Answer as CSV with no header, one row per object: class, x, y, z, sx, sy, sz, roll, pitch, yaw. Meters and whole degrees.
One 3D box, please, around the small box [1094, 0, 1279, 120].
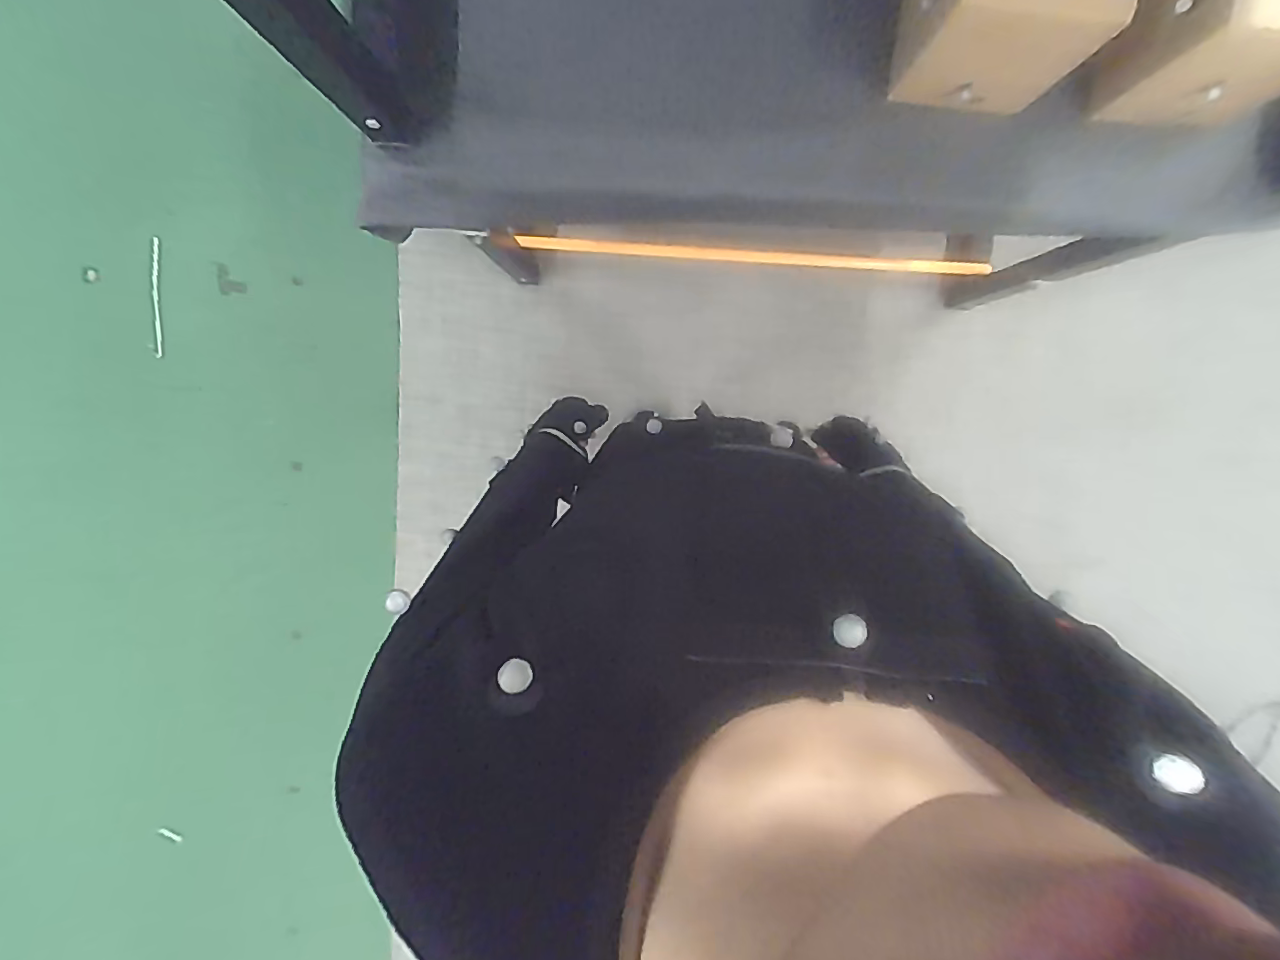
small box,0.641,-0.520,0.579,0.168,0.176,0.179,3,97,1
